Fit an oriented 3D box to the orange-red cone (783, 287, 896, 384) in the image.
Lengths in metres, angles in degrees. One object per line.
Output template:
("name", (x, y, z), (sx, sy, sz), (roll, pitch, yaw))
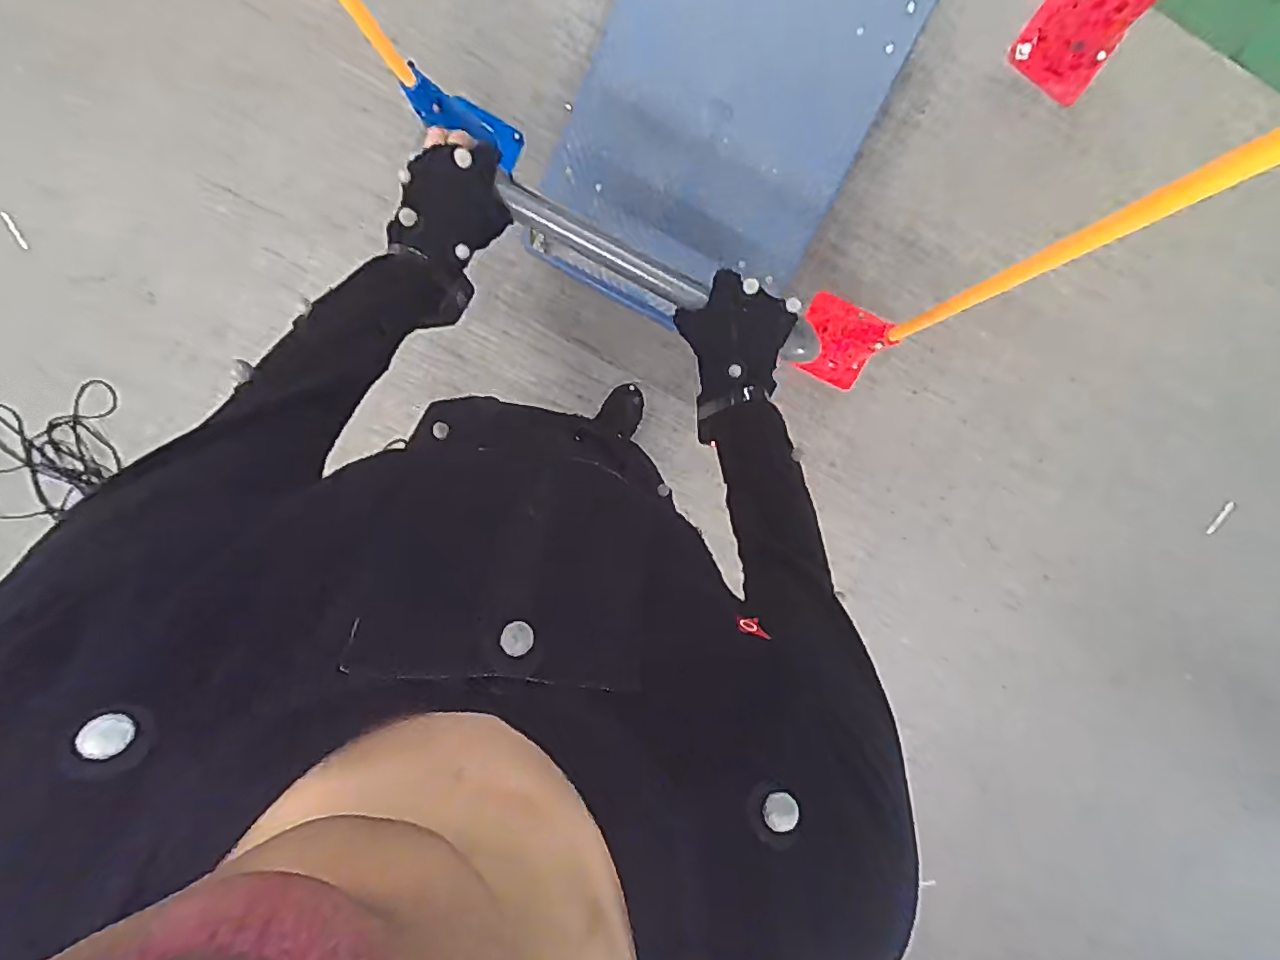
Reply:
("orange-red cone", (0.489, -0.340, 1.236), (0.199, 0.360, 0.198), (27, 101, -4))
